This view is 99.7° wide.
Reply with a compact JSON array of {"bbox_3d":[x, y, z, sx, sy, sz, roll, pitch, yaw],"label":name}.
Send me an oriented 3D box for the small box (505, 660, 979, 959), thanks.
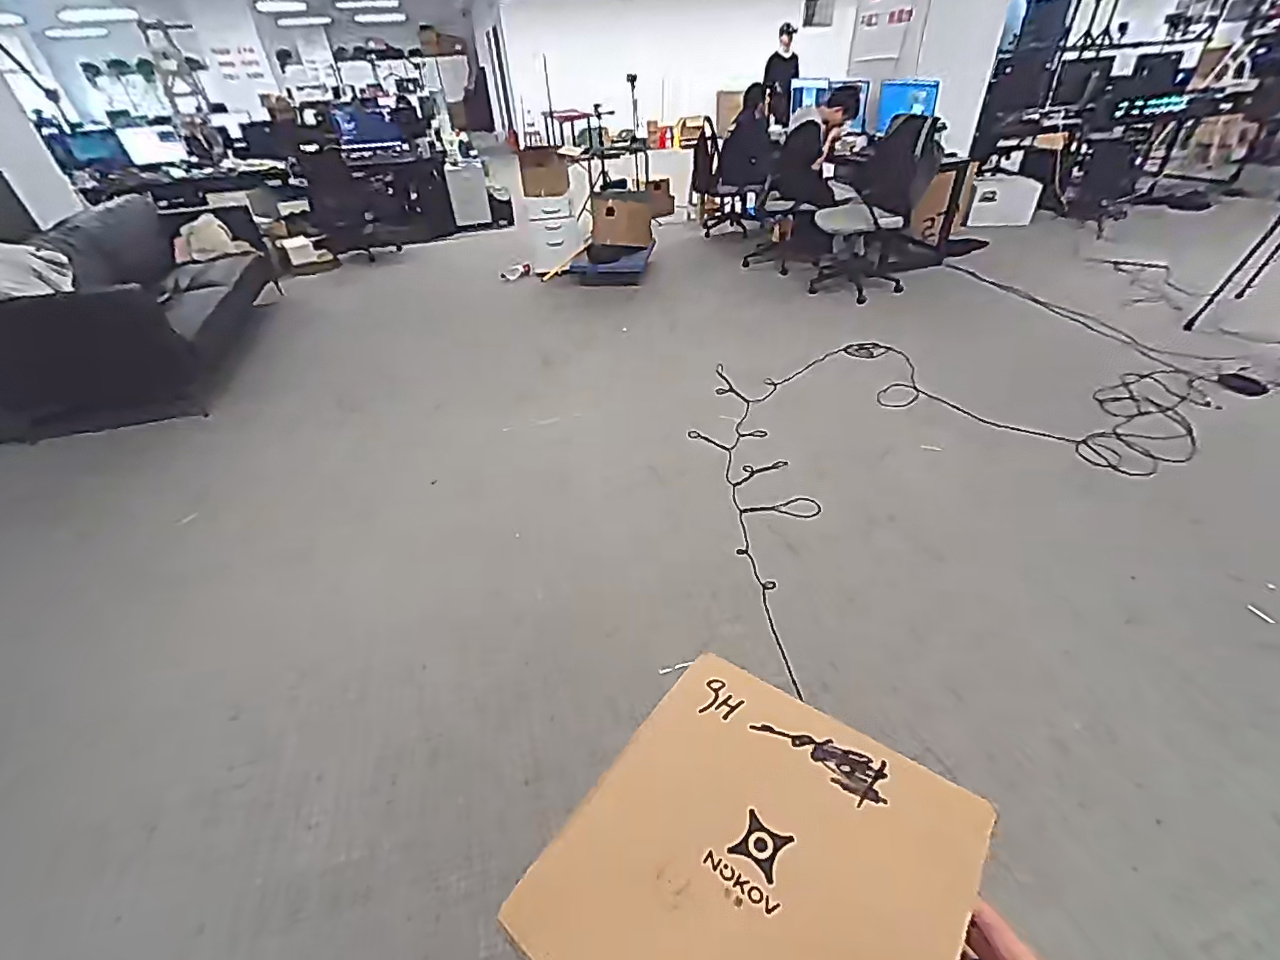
[{"bbox_3d":[0.062,0.248,0.302,0.168,0.176,0.179,19,43,35],"label":"small box"}]
